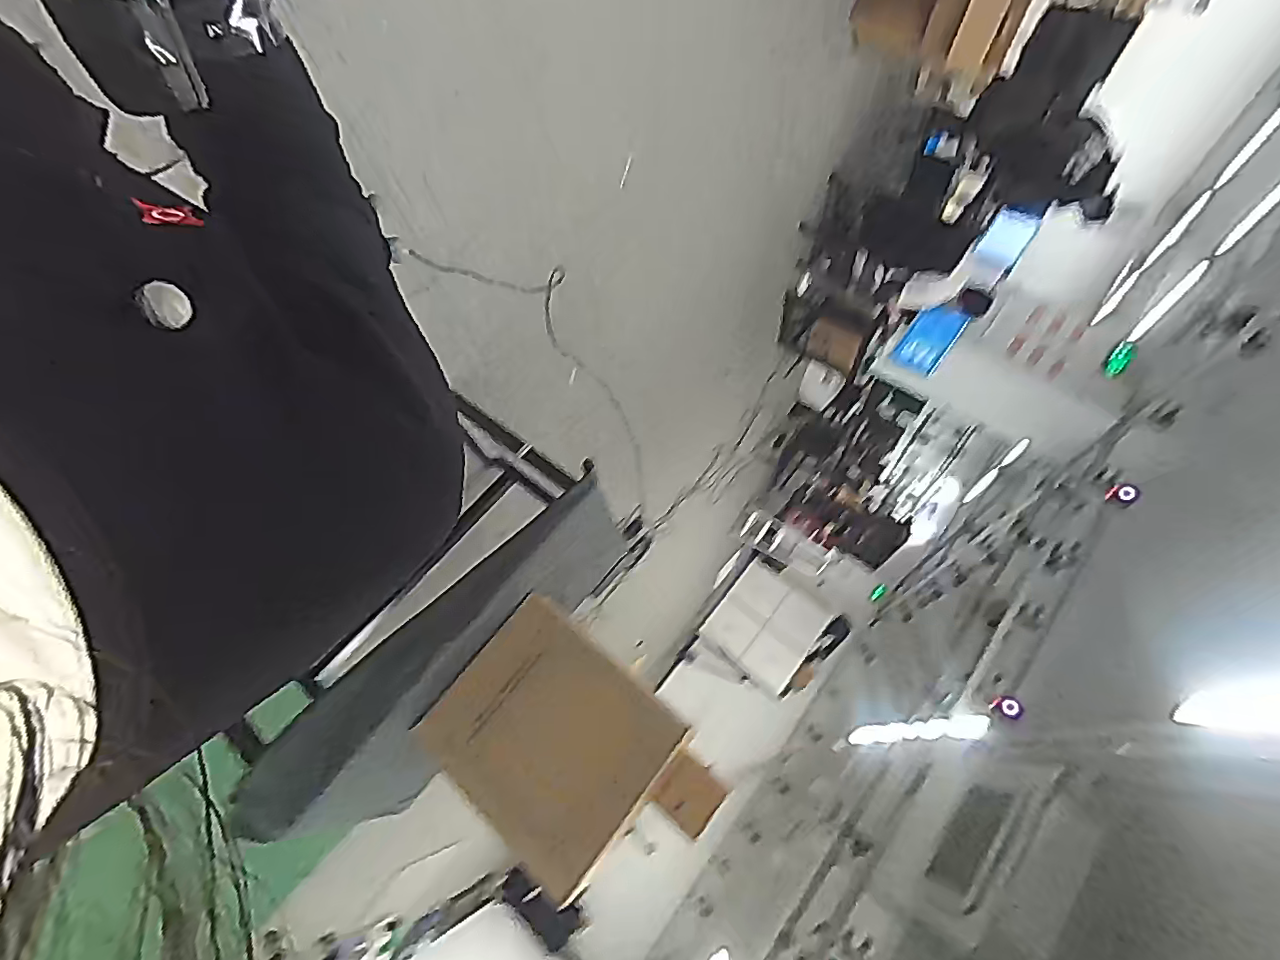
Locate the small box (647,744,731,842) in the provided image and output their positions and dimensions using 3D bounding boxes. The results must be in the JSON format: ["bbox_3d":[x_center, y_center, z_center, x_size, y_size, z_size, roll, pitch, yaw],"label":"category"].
[{"bbox_3d":[0.136,0.858,1.502,0.168,0.176,0.179,-50,157,-14],"label":"small box"}]
